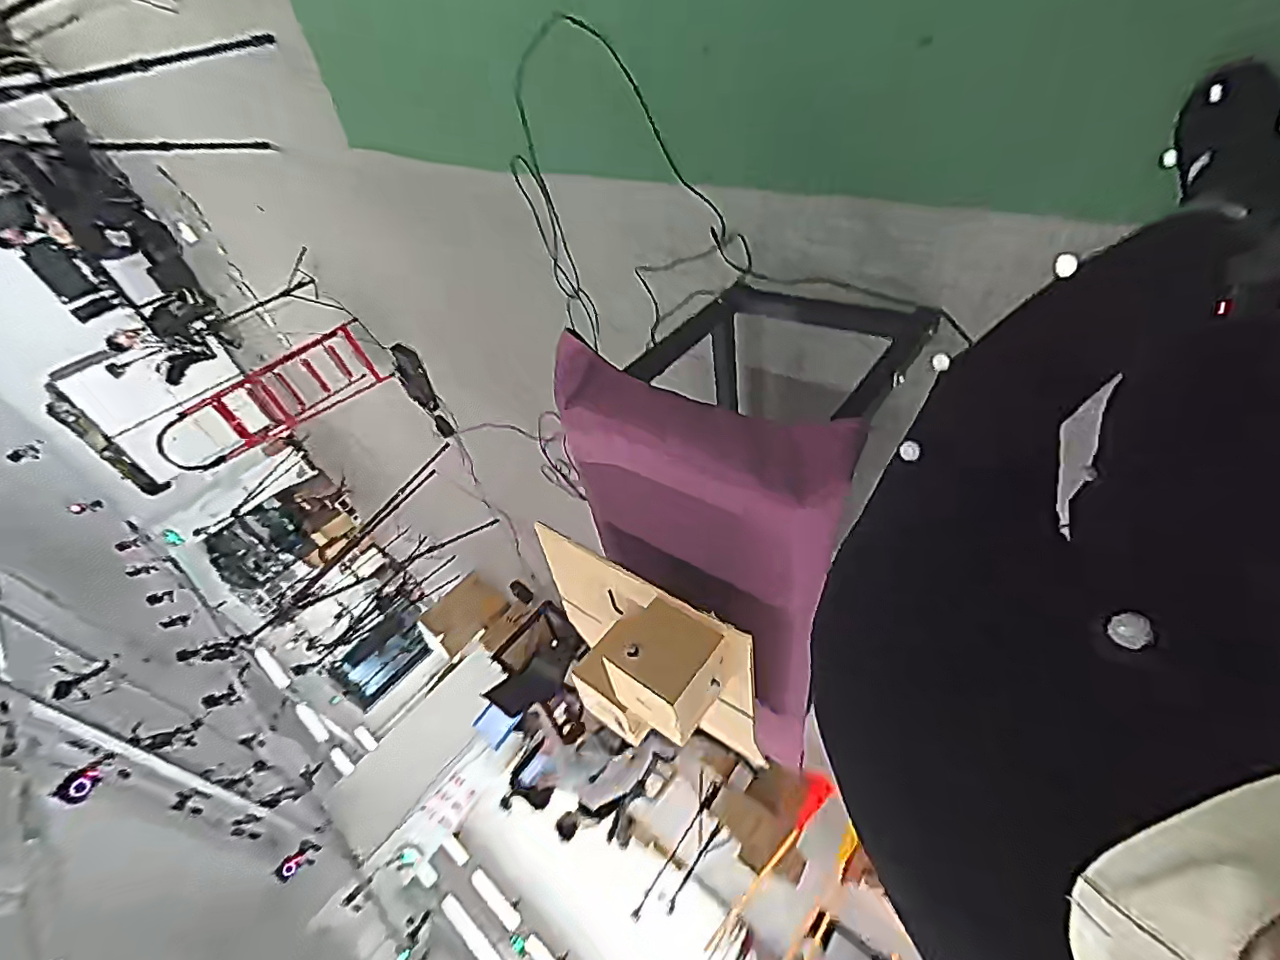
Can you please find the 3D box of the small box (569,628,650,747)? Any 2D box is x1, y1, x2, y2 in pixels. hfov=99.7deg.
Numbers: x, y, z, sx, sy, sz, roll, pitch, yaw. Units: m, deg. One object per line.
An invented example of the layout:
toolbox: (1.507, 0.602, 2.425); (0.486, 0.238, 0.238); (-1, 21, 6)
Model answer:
small box: (-0.037, 0.491, 1.300); (0.179, 0.176, 0.168); (23, 139, 35)

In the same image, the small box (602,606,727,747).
small box: (0.054, 0.379, 1.077); (0.179, 0.176, 0.168); (23, 140, 34)
